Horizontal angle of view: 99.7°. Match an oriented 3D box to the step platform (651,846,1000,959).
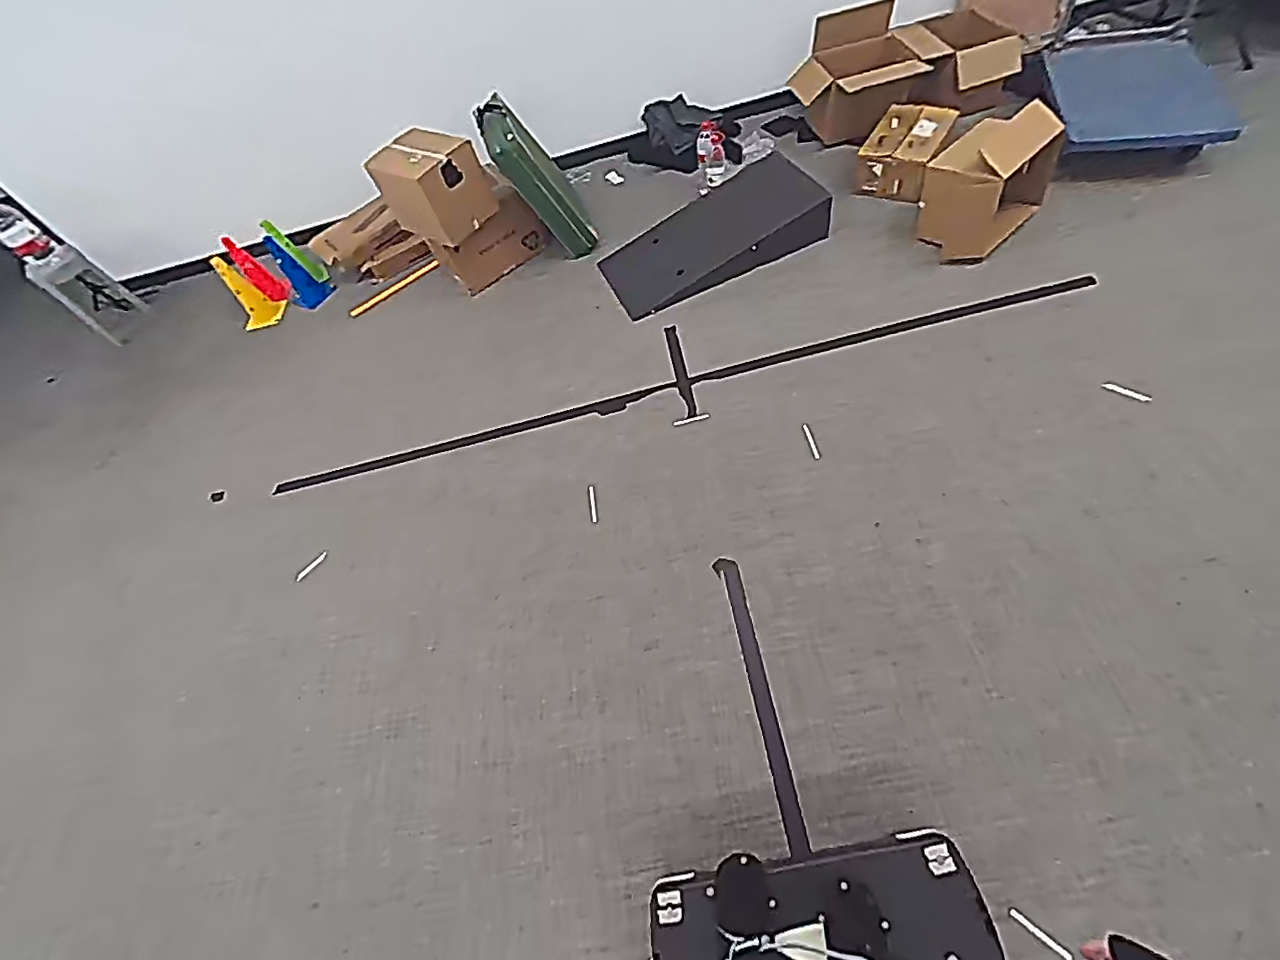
[{"bbox_3d":[0.364,0.990,1.121,0.684,0.204,0.286,-14,56,3],"label":"step platform"}]
